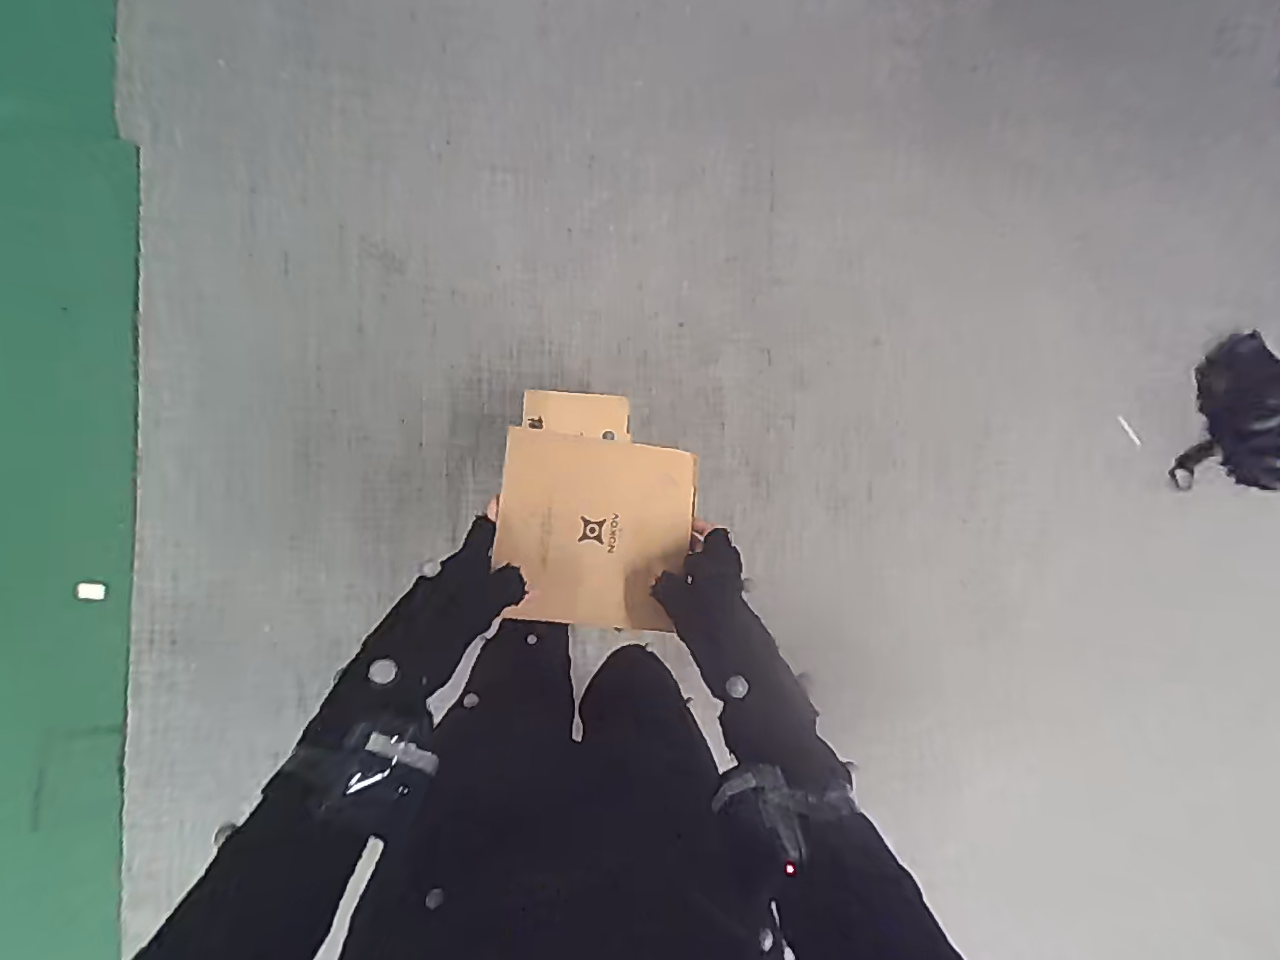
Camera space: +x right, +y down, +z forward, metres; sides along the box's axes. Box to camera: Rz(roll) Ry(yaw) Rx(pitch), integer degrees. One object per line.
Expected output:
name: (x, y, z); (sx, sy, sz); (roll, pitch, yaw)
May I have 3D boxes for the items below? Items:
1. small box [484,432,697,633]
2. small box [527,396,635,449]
small box: (-0.054, 0.054, 0.565); (0.179, 0.176, 0.168); (7, 84, -8)
small box: (-0.111, -0.051, 0.967); (0.179, 0.176, 0.168); (4, 90, -7)
